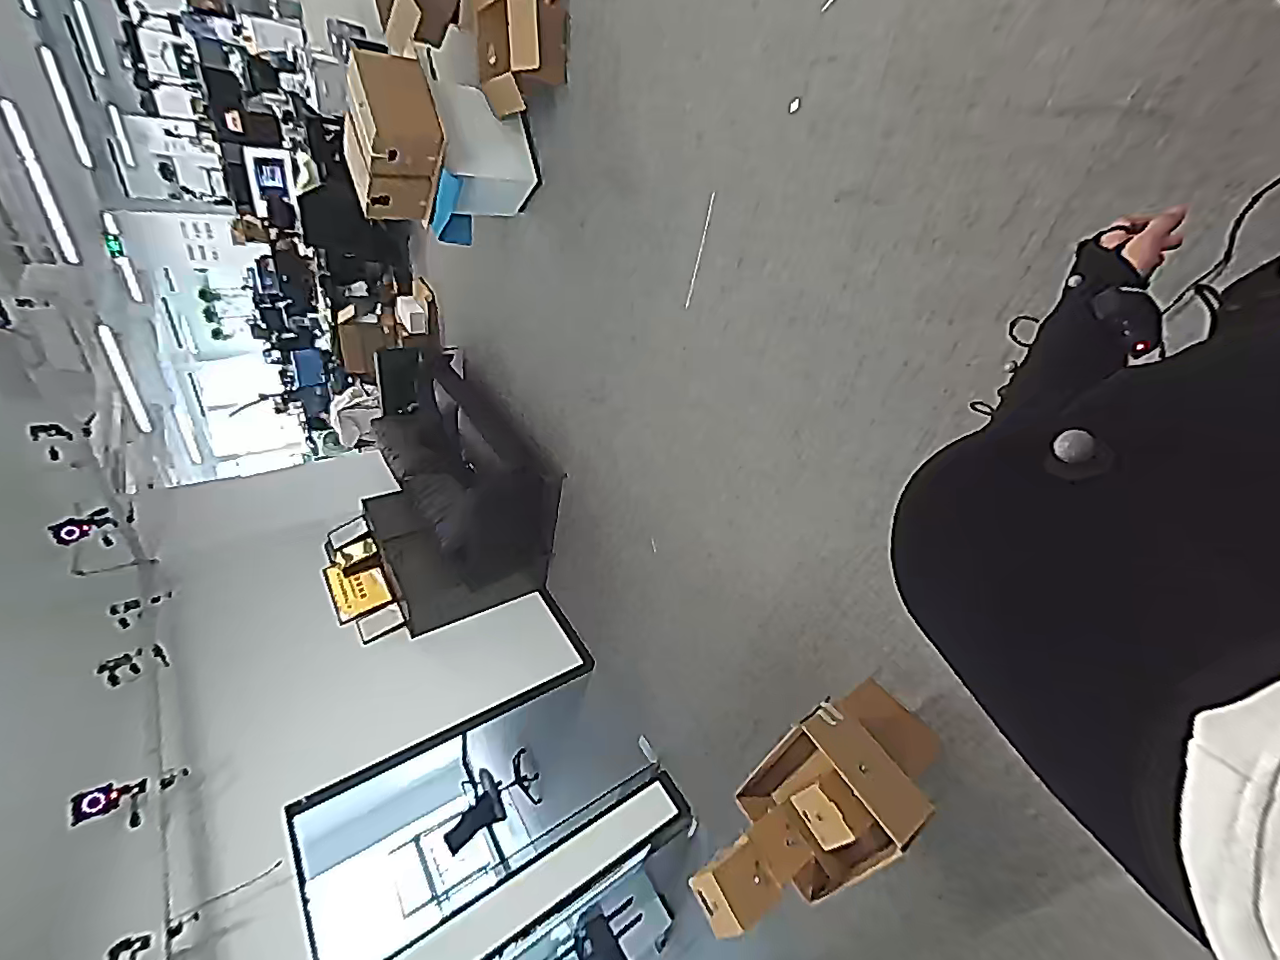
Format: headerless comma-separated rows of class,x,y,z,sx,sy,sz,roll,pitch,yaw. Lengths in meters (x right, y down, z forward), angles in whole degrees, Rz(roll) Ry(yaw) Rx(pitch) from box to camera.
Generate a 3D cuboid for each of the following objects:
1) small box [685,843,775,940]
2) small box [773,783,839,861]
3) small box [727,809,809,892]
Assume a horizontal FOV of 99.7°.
small box,0.269,1.226,1.614,0.168,0.176,0.179,56,140,27
small box,0.529,1.157,1.800,0.168,0.176,0.179,48,136,34
small box,0.399,1.187,1.707,0.168,0.176,0.179,48,136,35
